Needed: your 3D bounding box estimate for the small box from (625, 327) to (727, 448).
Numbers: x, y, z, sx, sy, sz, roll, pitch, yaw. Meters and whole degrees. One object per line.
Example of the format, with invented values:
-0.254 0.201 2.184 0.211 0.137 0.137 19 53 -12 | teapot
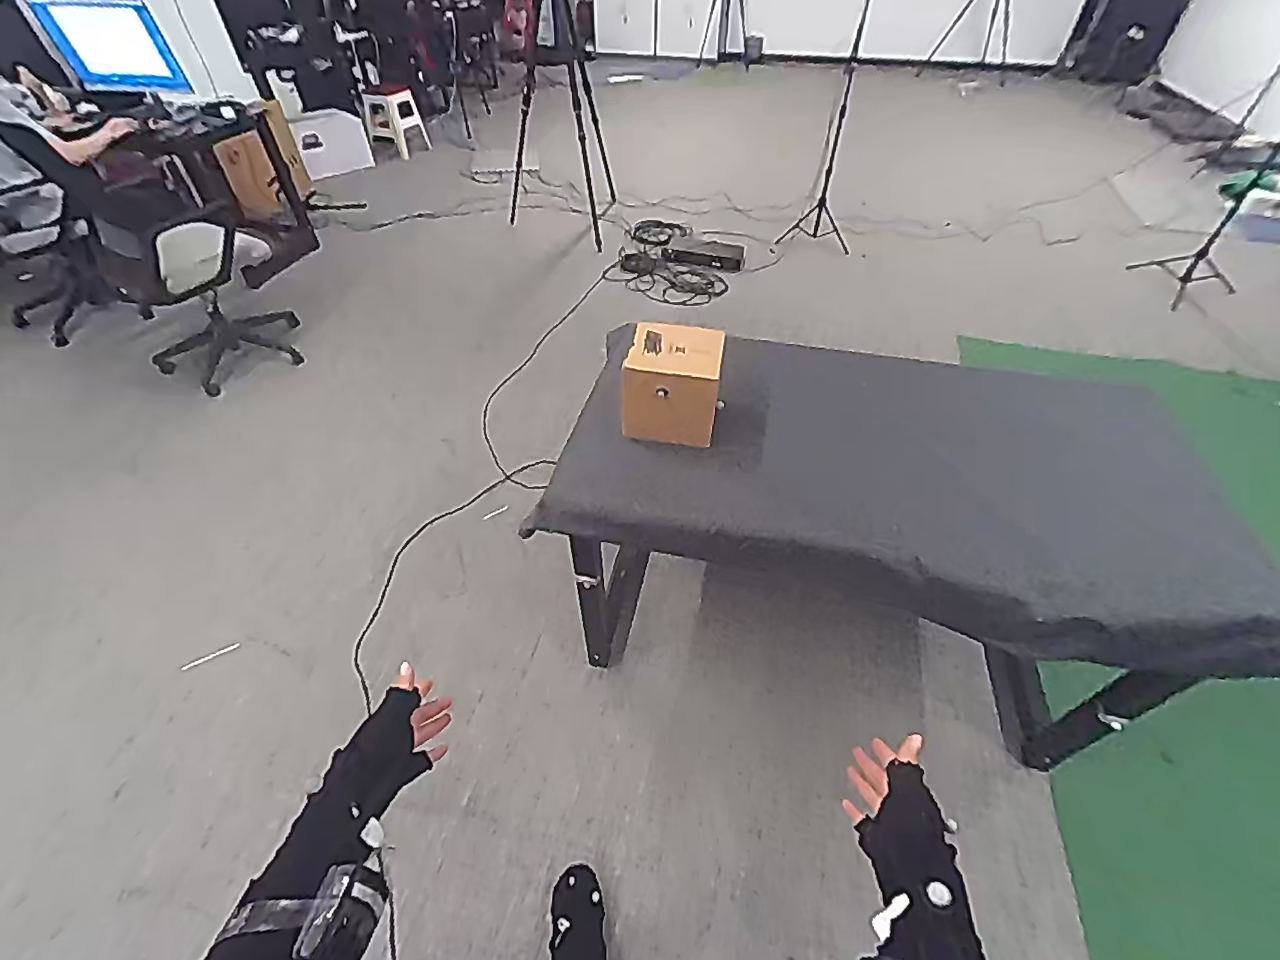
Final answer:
0.071 -0.182 1.078 0.179 0.176 0.168 9 47 7 | small box
